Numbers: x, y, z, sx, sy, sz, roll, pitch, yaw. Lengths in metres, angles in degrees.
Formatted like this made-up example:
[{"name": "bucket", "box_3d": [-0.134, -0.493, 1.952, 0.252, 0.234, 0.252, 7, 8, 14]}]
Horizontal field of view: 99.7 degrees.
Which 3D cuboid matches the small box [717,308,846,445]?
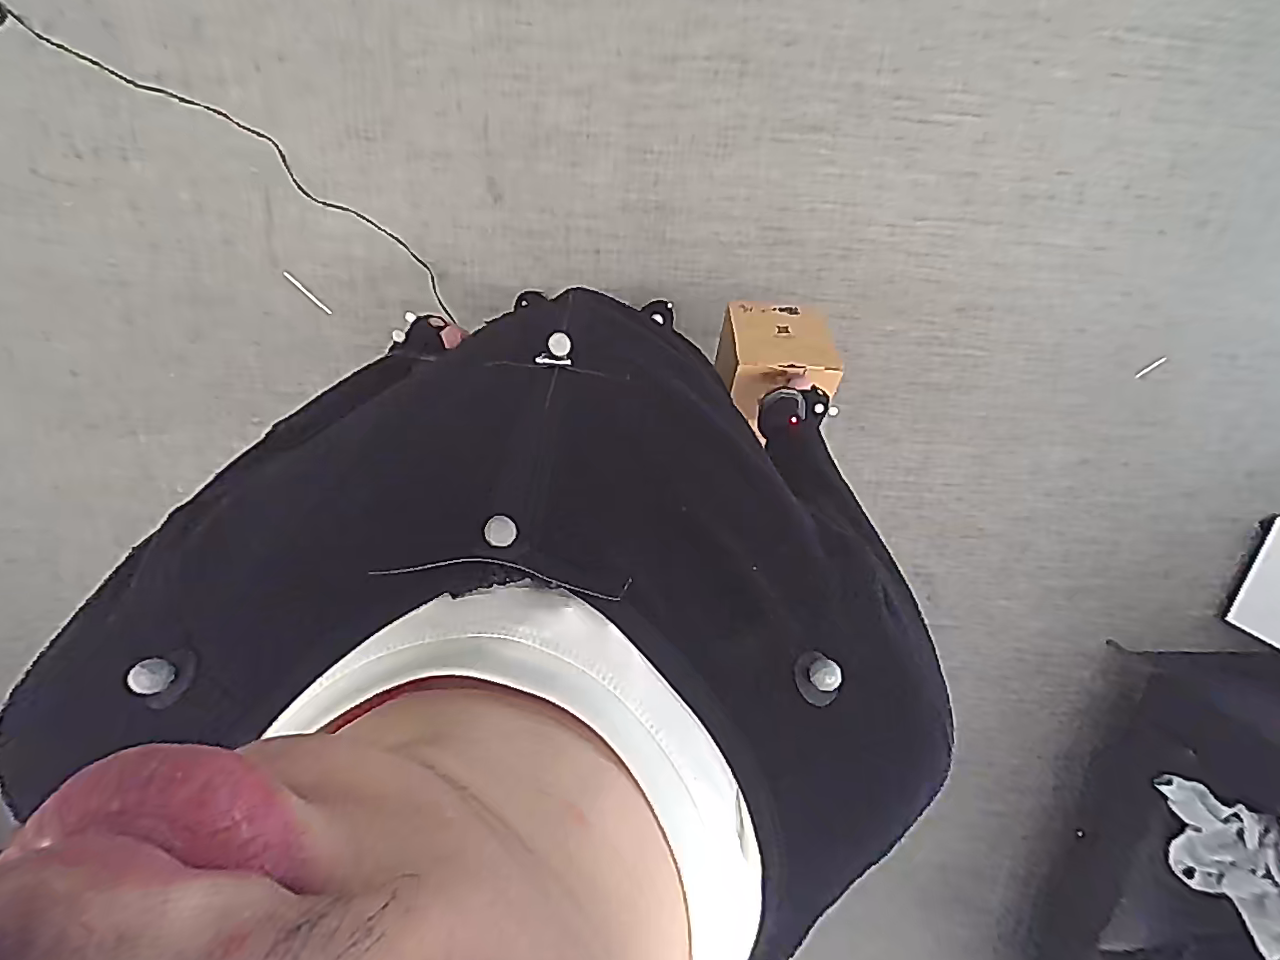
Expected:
[{"name": "small box", "box_3d": [0.231, -0.174, 0.932, 0.168, 0.179, 0.176, 0, 141, -2]}]
